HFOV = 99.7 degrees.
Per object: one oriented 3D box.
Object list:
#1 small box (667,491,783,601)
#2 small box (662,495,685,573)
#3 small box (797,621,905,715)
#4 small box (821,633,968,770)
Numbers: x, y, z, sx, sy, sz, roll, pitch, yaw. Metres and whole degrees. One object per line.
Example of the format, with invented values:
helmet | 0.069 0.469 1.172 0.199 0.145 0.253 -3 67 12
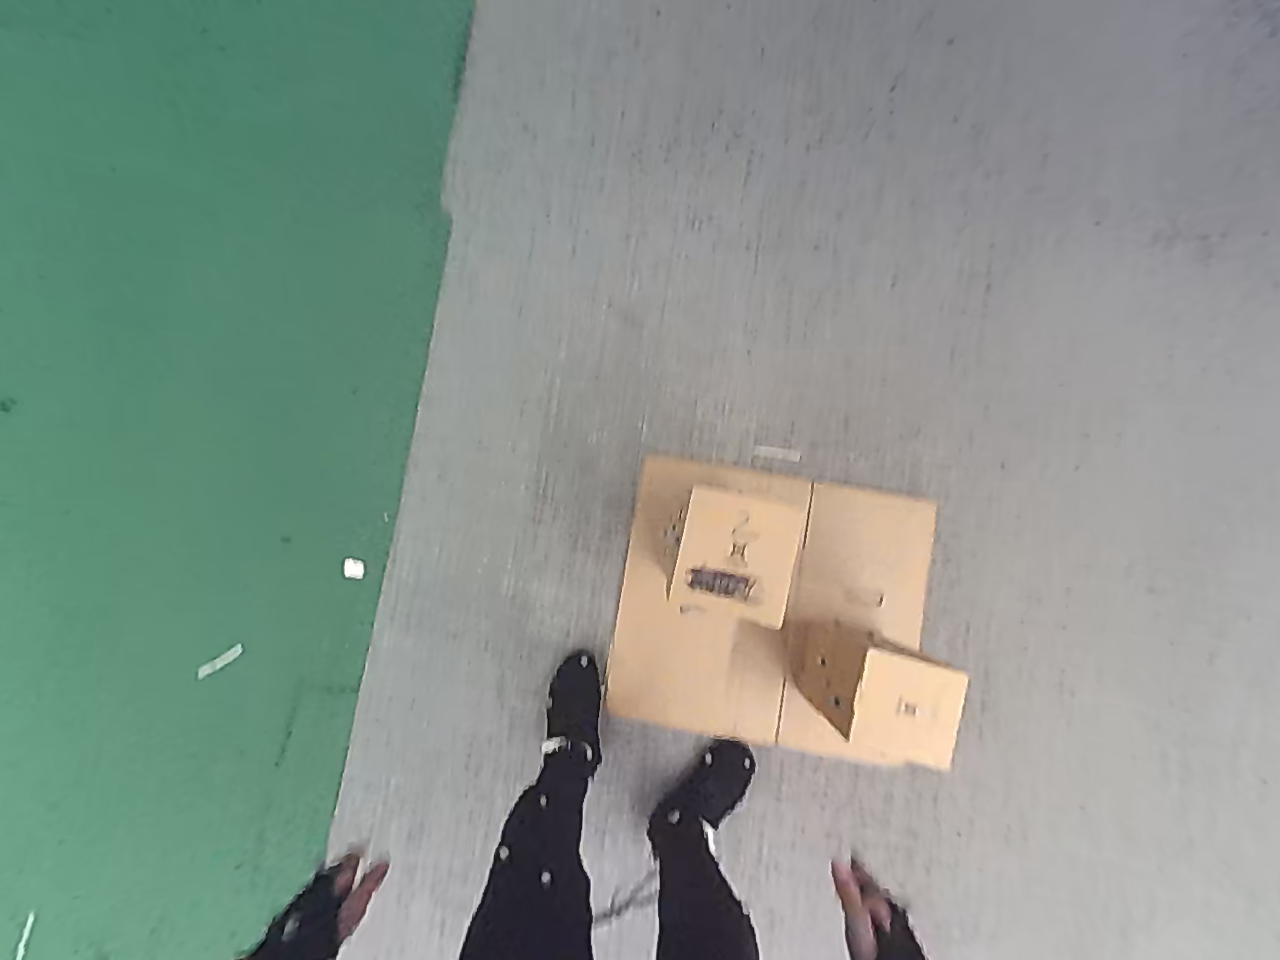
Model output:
small box | 0.151 0.119 1.017 0.179 0.176 0.168 11 86 3
small box | 0.148 0.132 1.178 0.179 0.176 0.168 11 85 2
small box | 0.456 0.408 1.150 0.179 0.176 0.168 13 85 2
small box | 0.451 0.390 0.987 0.179 0.176 0.168 15 86 3
